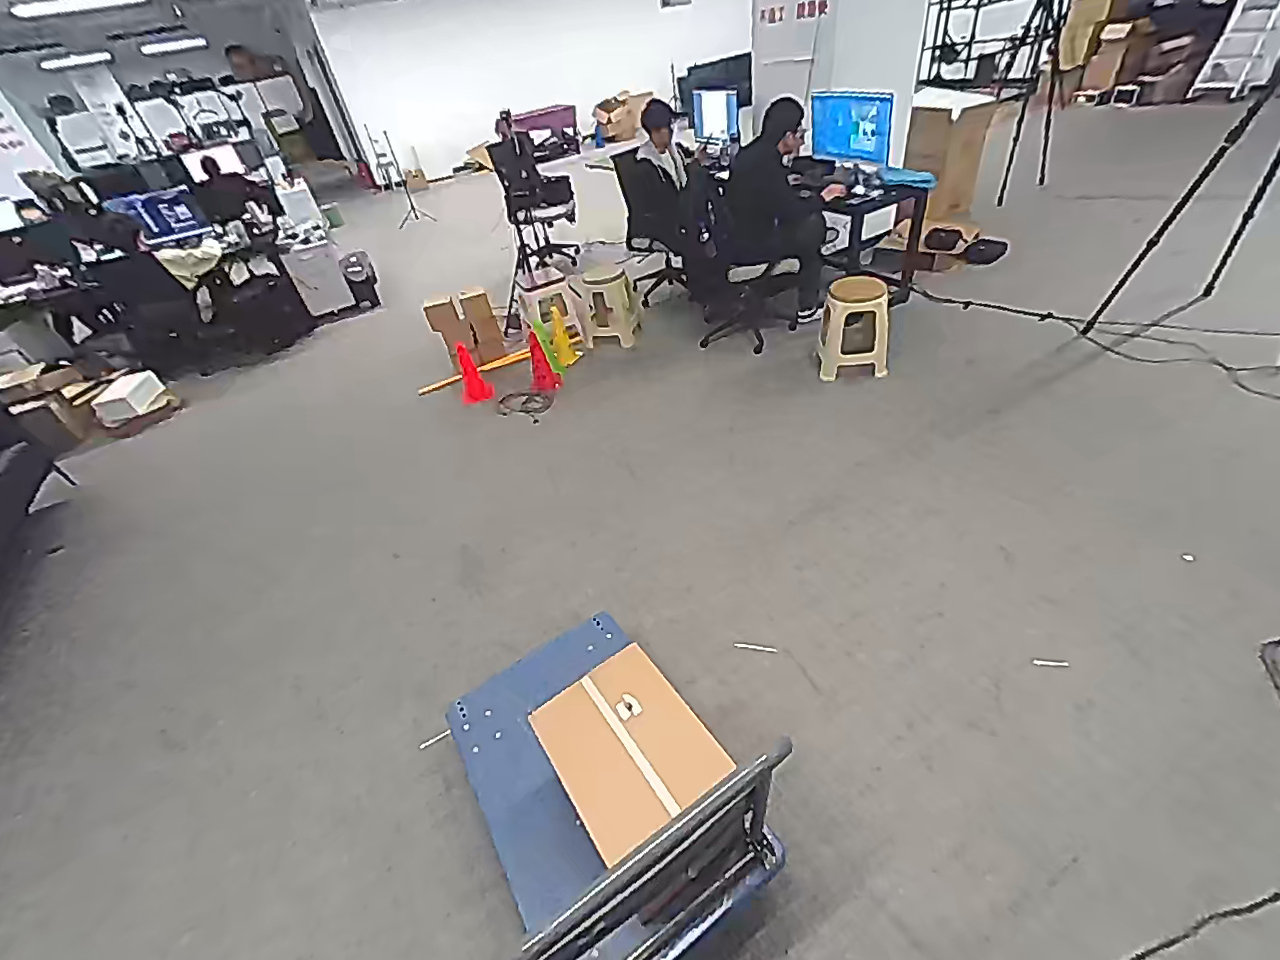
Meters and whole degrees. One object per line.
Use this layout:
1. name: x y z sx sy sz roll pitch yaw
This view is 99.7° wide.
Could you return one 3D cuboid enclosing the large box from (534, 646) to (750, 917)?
1. large box: 0.009 0.692 1.276 0.320 0.320 0.408 -29 42 -21
